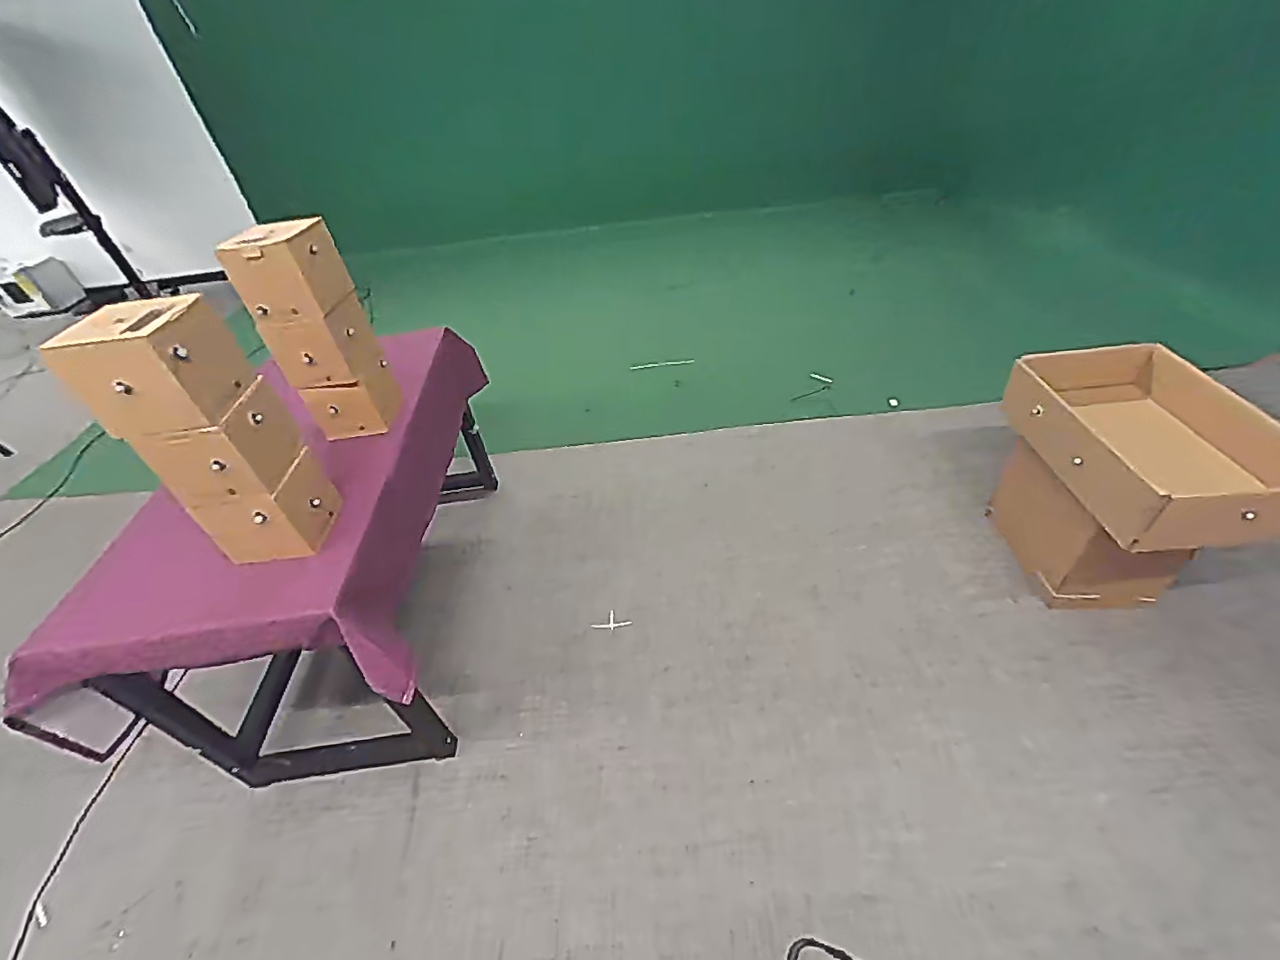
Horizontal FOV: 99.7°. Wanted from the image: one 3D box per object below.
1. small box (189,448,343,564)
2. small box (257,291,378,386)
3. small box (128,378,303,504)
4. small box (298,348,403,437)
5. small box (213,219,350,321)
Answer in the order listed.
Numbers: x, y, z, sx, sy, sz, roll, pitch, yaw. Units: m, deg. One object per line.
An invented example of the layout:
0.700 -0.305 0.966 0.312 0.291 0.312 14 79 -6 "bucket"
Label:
-0.762 0.056 1.129 0.179 0.176 0.168 -7 41 3 "small box"
-0.782 -0.345 1.336 0.168 0.176 0.179 -5 42 4 "small box"
-0.783 -0.069 1.025 0.168 0.176 0.179 -7 41 1 "small box"
-0.763 -0.227 1.449 0.168 0.176 0.179 -8 41 2 "small box"
-0.801 -0.473 1.234 0.168 0.176 0.179 -5 40 5 "small box"
